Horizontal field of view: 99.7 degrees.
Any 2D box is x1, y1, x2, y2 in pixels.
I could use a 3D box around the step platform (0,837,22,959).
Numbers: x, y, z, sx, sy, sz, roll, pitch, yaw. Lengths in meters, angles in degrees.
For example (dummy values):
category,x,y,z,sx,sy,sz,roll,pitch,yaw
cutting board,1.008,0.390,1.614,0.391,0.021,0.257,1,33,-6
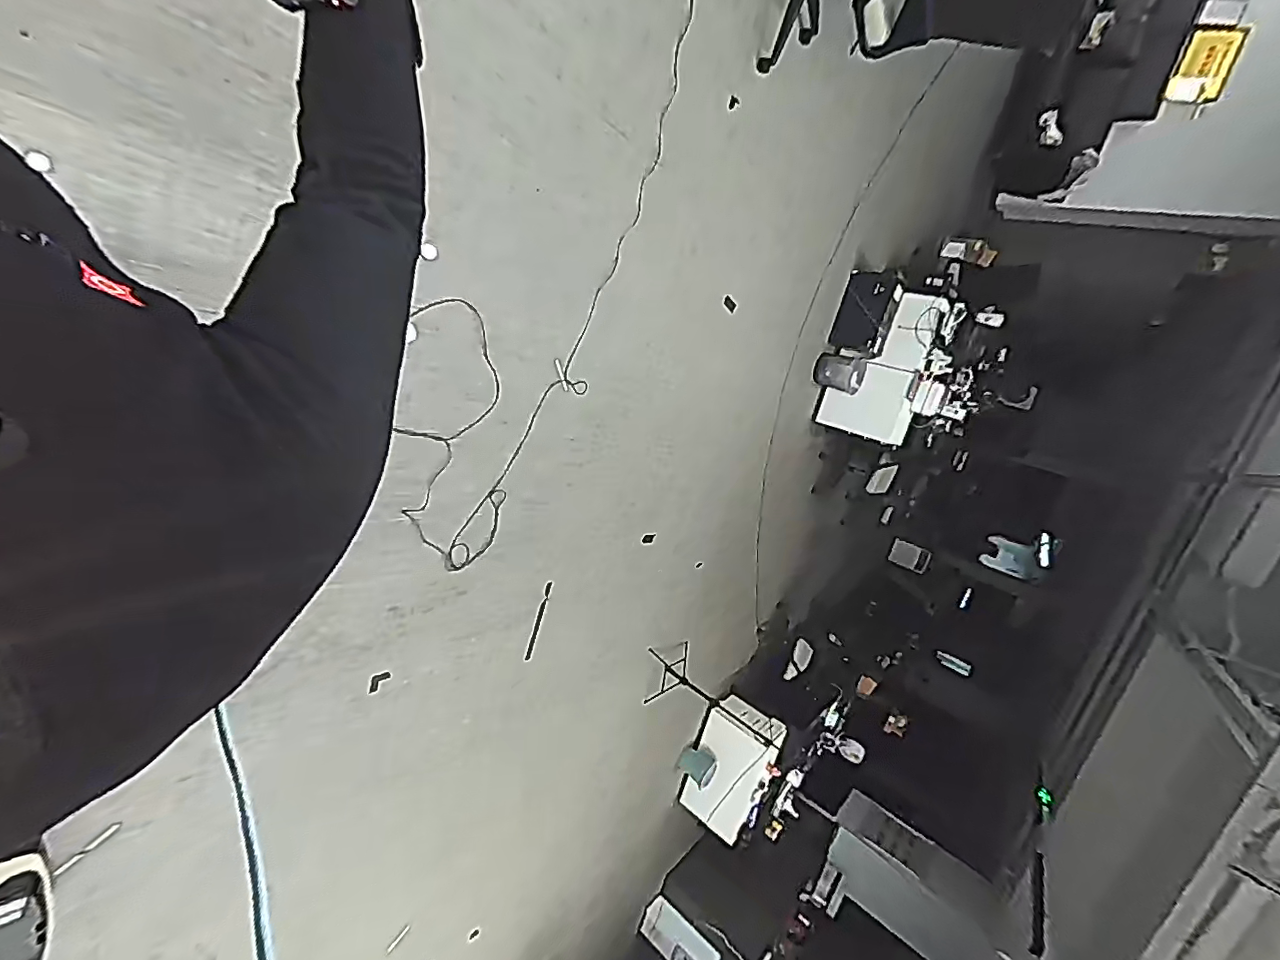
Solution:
category,x,y,z,sx,sy,sz,roll,pitch,yaw
step platform,-1.612,0.968,0.957,0.684,0.204,0.286,-3,113,-51
